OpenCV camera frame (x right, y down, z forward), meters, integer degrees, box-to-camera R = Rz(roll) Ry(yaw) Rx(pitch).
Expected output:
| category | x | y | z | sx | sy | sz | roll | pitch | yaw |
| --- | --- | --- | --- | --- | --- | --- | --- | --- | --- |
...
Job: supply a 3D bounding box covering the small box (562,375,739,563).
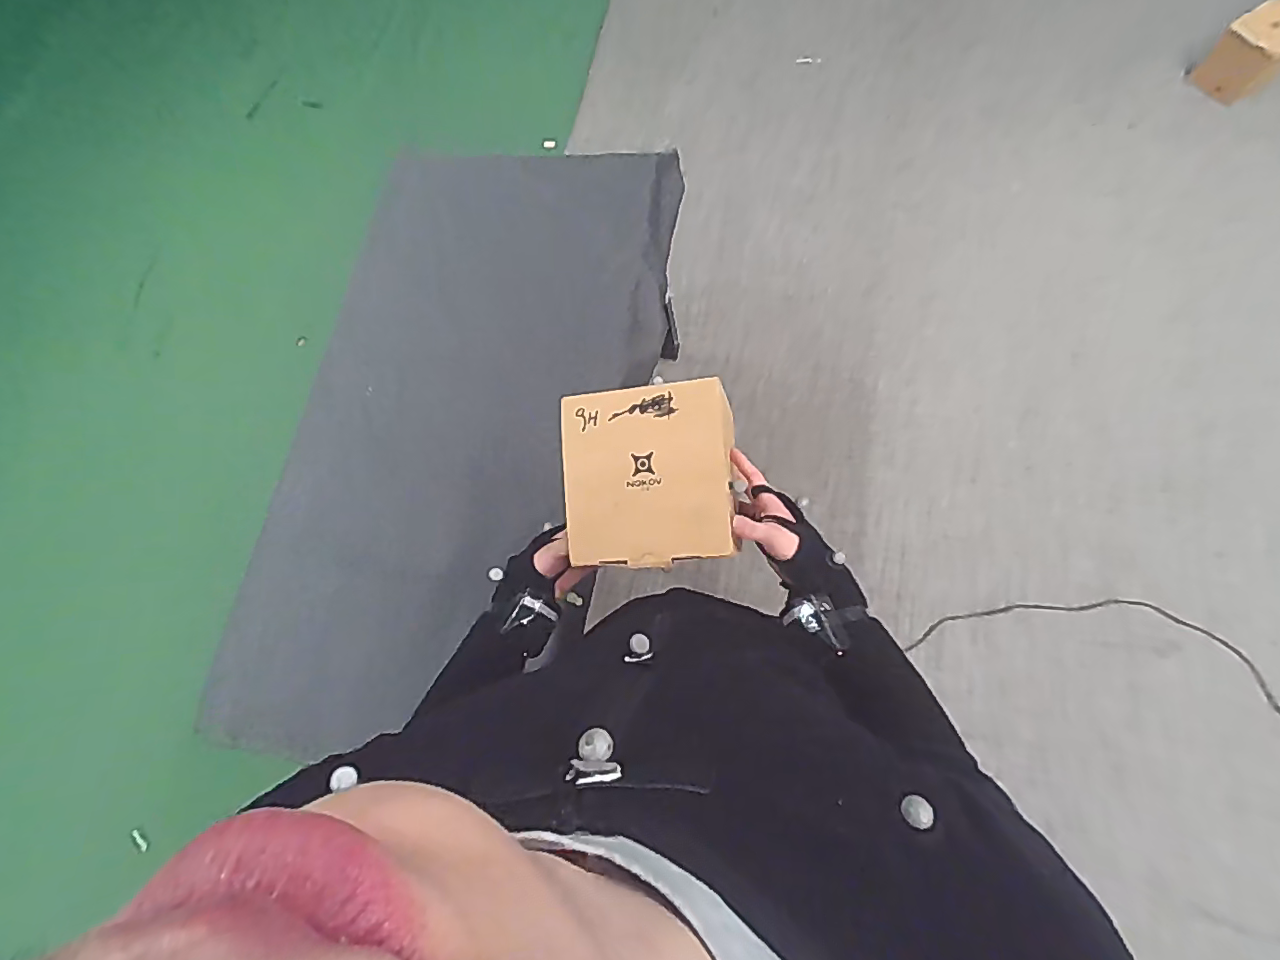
| category | x | y | z | sx | sy | sz | roll | pitch | yaw |
| --- | --- | --- | --- | --- | --- | --- | --- | --- | --- |
| small box | 0.021 | -0.005 | 0.606 | 0.168 | 0.176 | 0.179 | -5 | 85 | 11 |
